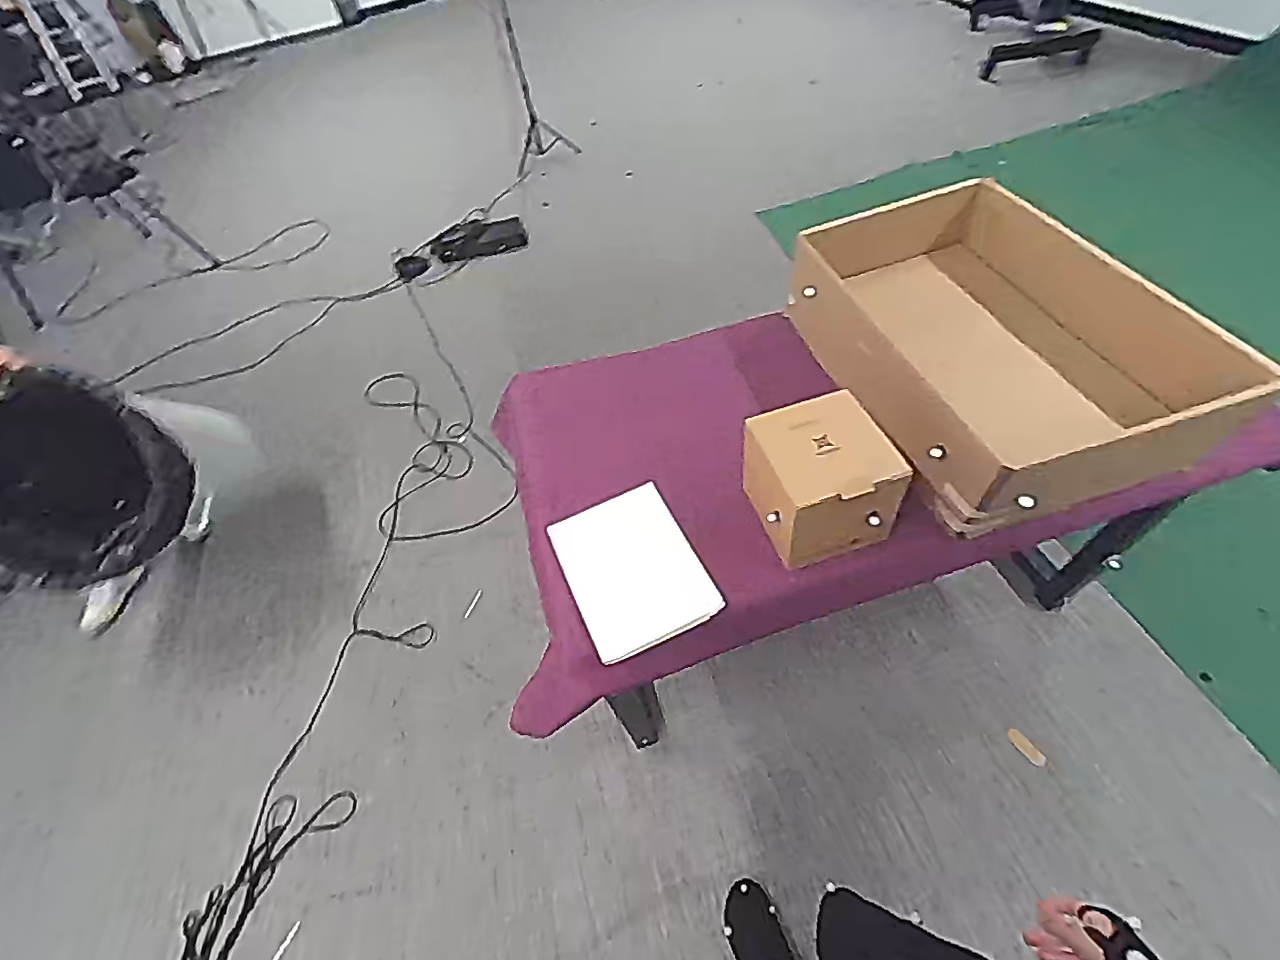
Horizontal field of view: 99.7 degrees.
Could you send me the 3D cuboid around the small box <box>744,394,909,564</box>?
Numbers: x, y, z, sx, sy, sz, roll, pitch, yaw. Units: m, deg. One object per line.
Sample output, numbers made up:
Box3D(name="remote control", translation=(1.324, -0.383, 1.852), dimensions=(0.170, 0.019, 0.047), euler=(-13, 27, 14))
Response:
Box3D(name="small box", translation=(0.264, 0.007, 0.811), dimensions=(0.168, 0.176, 0.179), euler=(-17, 50, -4))
